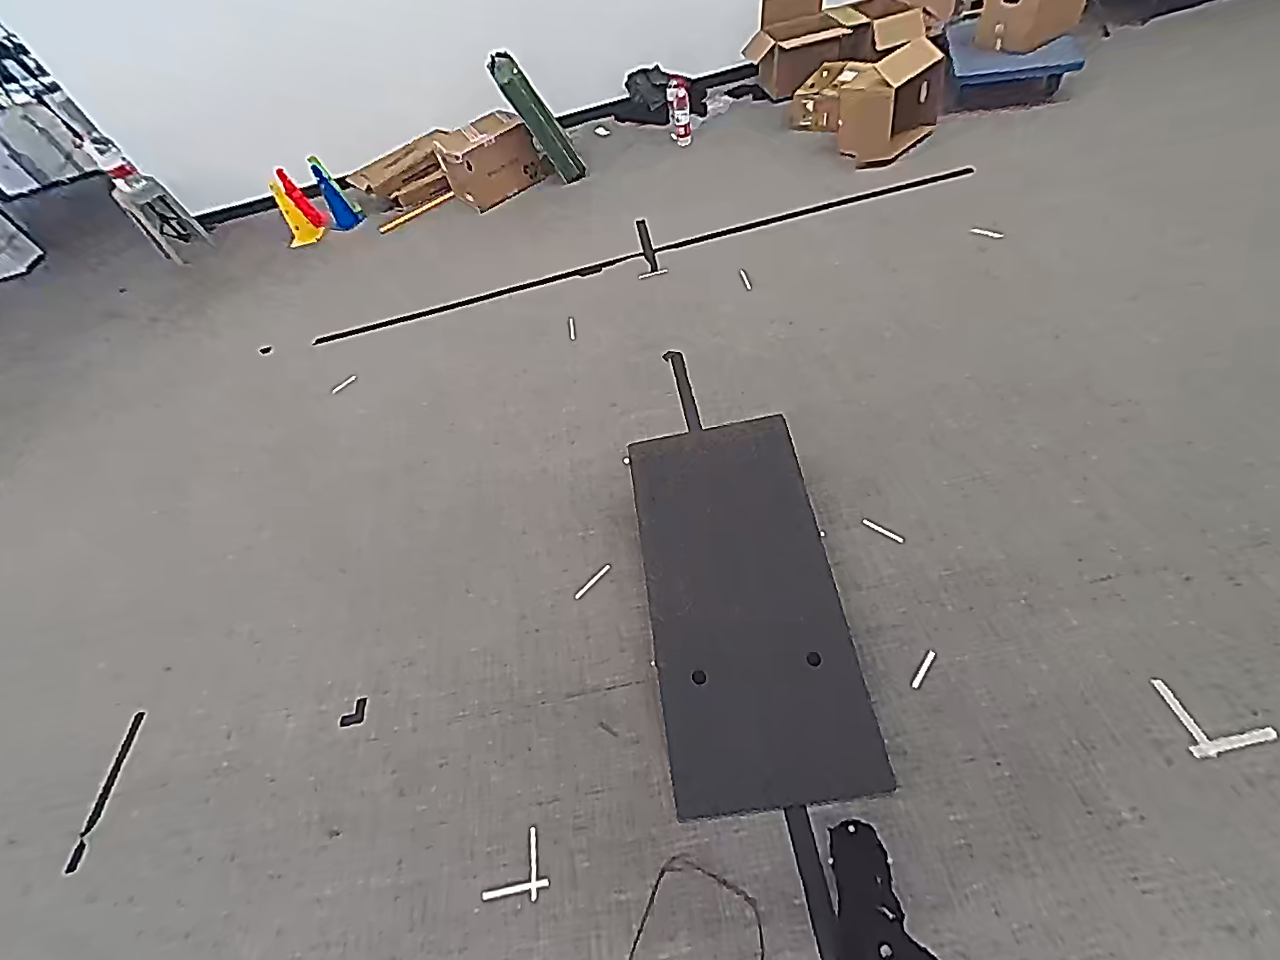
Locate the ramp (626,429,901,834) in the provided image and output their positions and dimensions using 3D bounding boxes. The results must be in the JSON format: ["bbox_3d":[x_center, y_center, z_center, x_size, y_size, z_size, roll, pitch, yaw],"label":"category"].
[{"bbox_3d":[0.269,0.322,1.445,0.509,0.206,0.991,-13,50,3],"label":"ramp"}]
